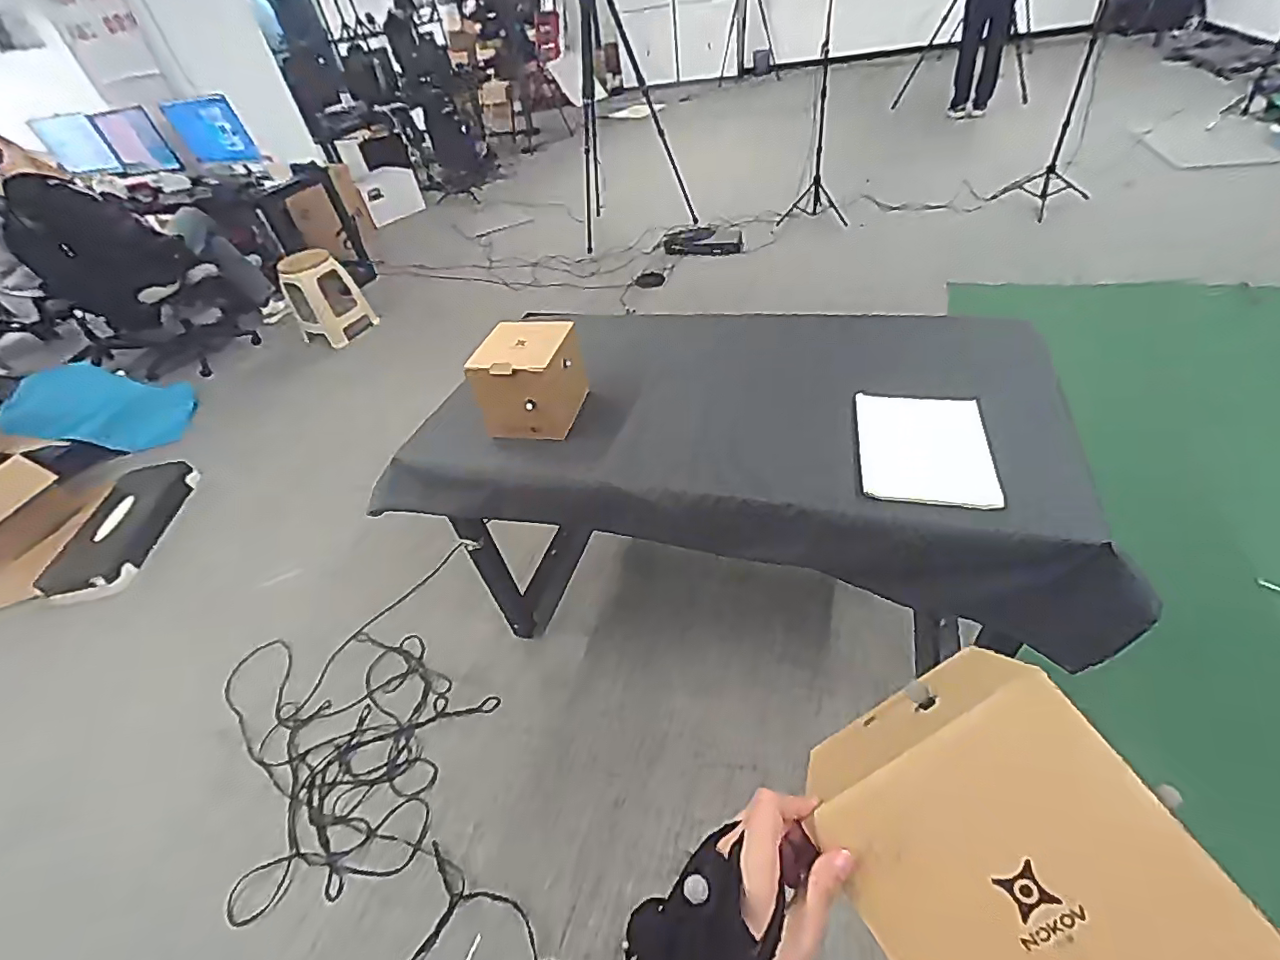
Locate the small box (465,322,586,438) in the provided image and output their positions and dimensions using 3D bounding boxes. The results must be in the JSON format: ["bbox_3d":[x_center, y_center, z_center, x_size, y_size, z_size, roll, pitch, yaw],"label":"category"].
[{"bbox_3d":[-0.217,-0.201,1.087,0.168,0.176,0.179,4,43,14],"label":"small box"}]
